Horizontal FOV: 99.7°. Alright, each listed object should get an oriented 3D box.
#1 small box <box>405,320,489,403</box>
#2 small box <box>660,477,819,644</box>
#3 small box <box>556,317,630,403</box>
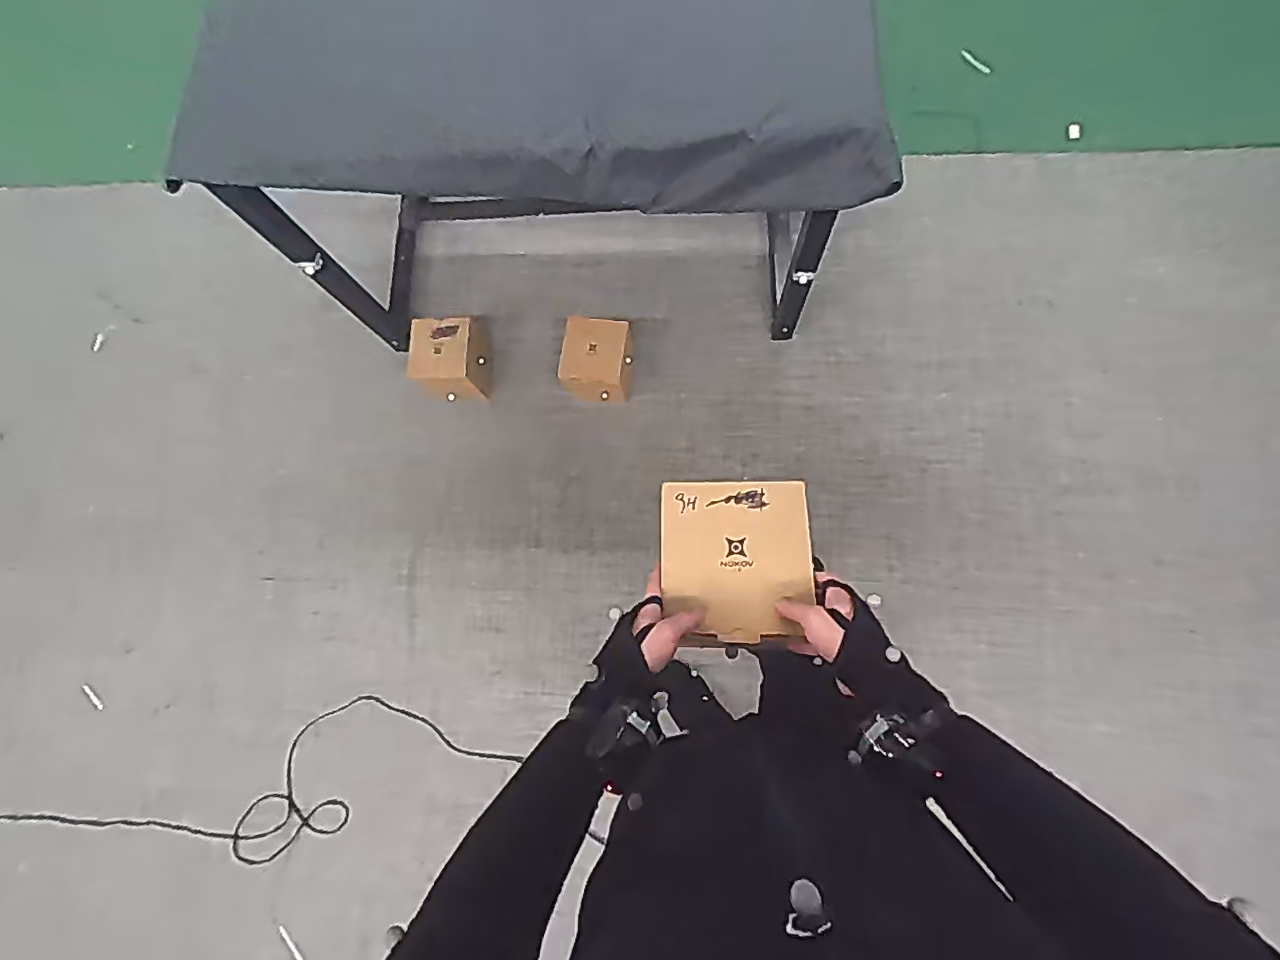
[{"bbox_3d":[-0.535,-0.329,1.520,0.168,0.176,0.179,-1,78,5],"label":"small box"},{"bbox_3d":[0.112,0.106,0.660,0.168,0.176,0.179,-1,70,5],"label":"small box"},{"bbox_3d":[-0.122,-0.323,1.485,0.168,0.176,0.179,5,77,5],"label":"small box"}]
